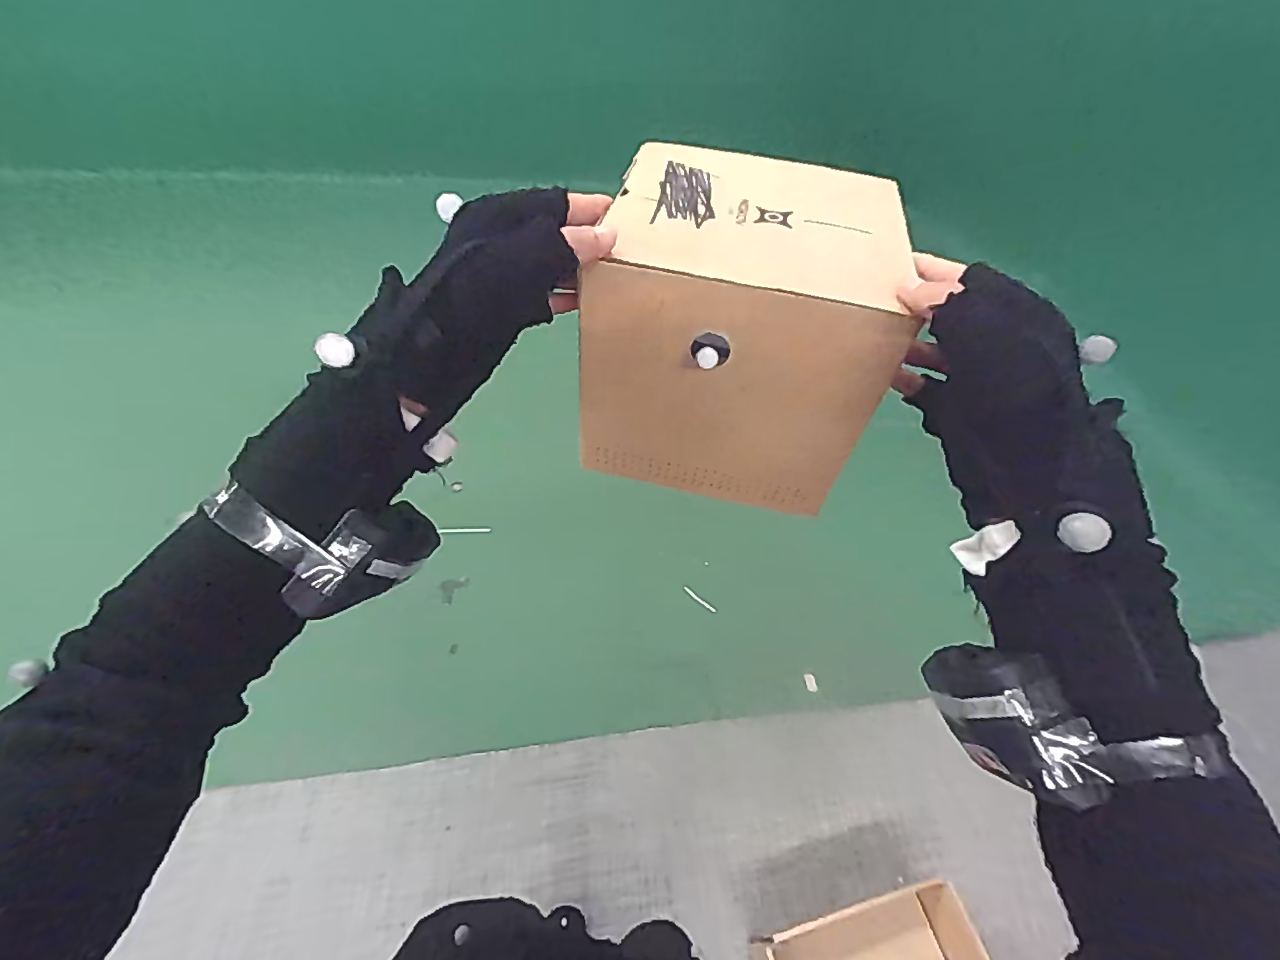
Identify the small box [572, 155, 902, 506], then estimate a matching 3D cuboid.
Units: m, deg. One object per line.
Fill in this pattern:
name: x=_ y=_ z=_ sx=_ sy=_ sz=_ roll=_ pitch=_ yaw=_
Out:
small box: x=0.057 y=-0.102 z=0.388 sx=0.179 sy=0.176 sz=0.168 roll=12 pitch=51 yaw=3
